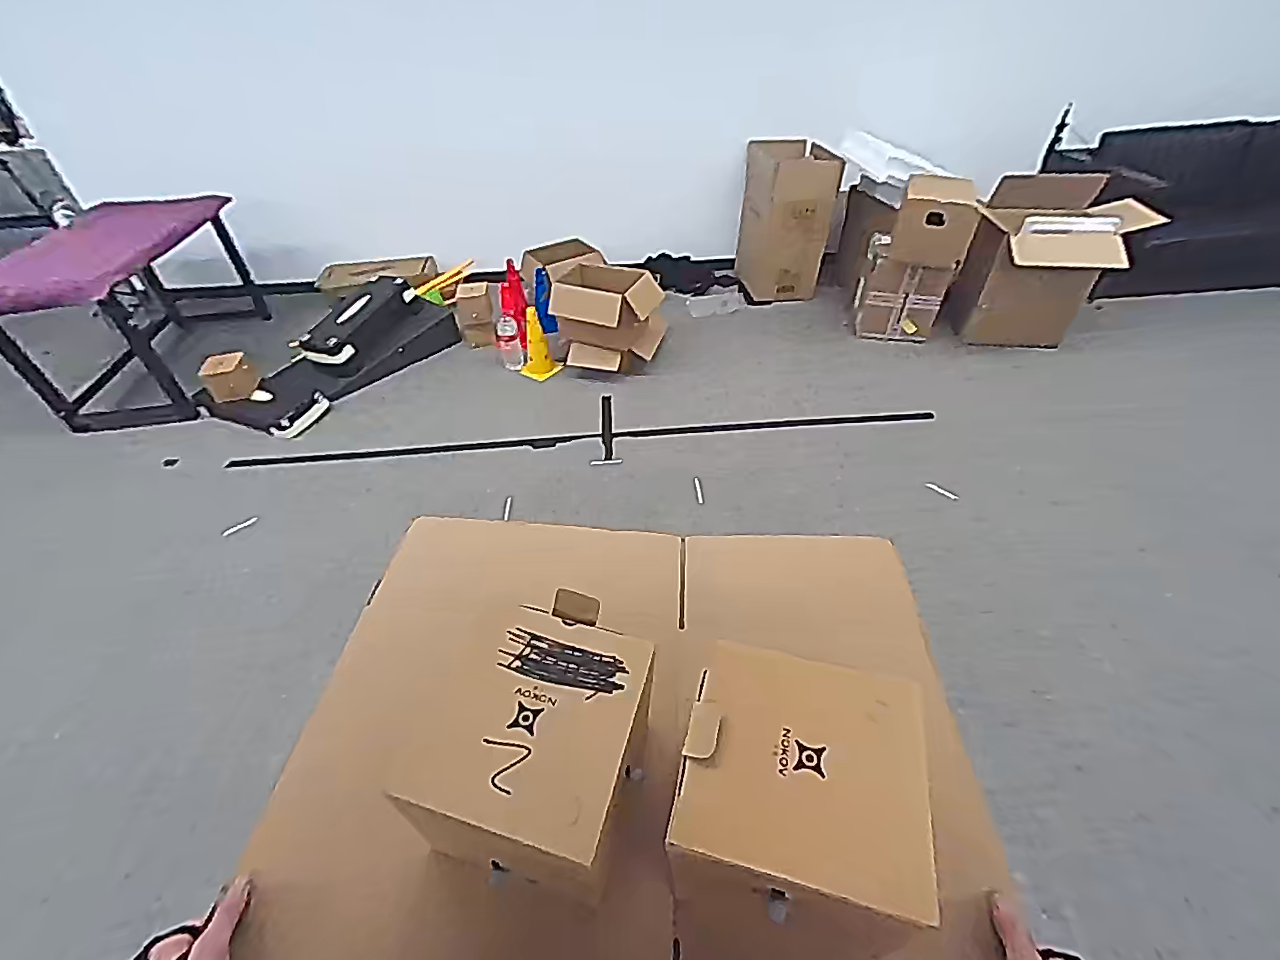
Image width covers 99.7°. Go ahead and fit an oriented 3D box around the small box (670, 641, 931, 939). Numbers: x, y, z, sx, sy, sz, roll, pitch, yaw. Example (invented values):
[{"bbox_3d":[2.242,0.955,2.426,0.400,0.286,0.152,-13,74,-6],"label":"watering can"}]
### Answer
[{"bbox_3d":[0.134,0.272,0.477,0.179,0.176,0.168,7,45,16],"label":"small box"}]
